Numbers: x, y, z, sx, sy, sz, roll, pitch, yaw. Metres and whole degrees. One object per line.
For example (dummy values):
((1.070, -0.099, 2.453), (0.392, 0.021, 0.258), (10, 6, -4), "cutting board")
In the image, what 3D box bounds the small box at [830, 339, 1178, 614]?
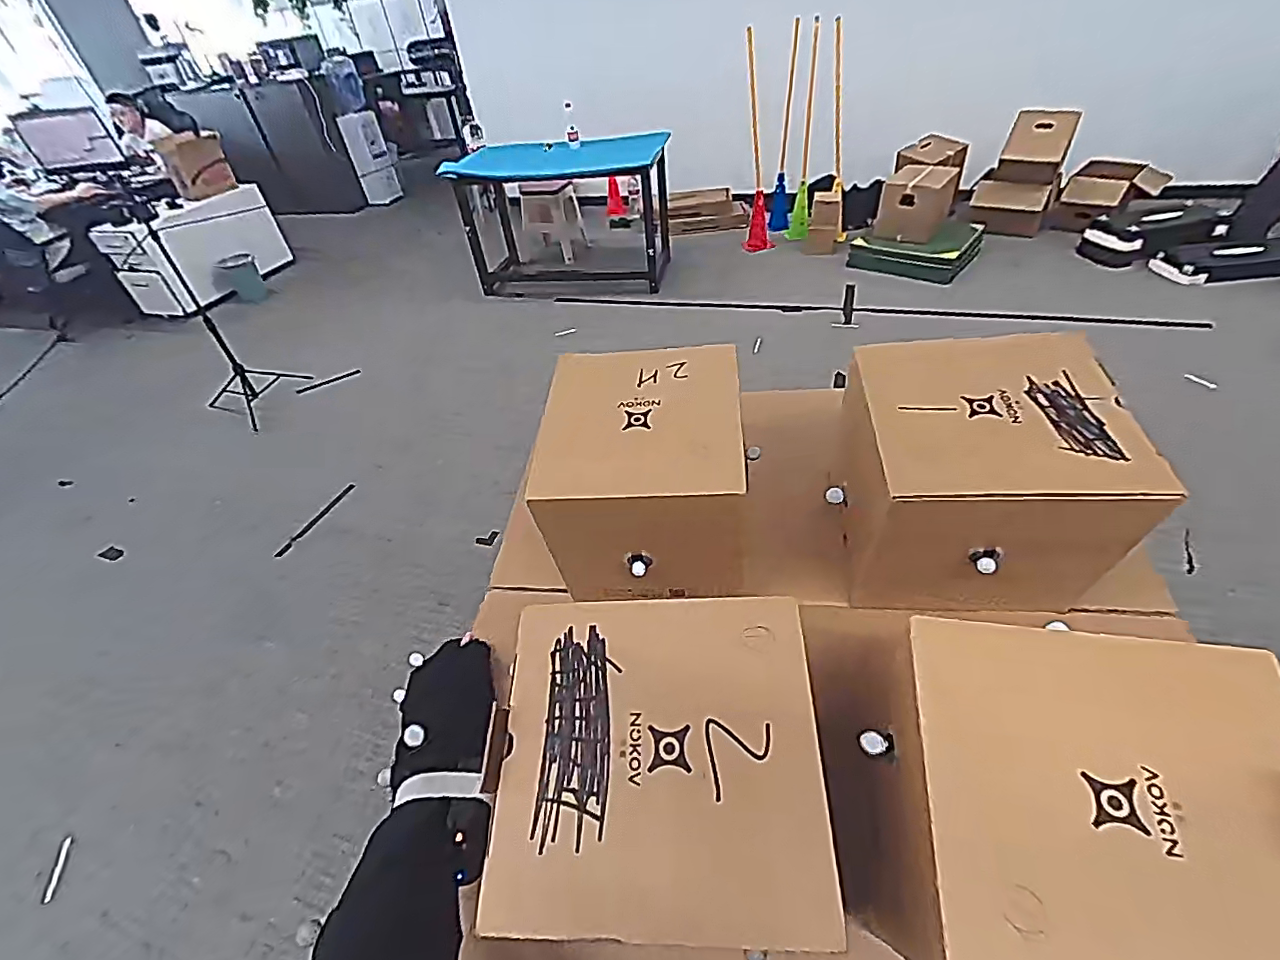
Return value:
((0.269, 0.002, 0.458), (0.179, 0.176, 0.168), (-1, 51, 11), "small box")

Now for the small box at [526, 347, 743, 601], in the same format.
((0.012, 0.000, 0.508), (0.168, 0.176, 0.179), (-1, 50, 9), "small box")
